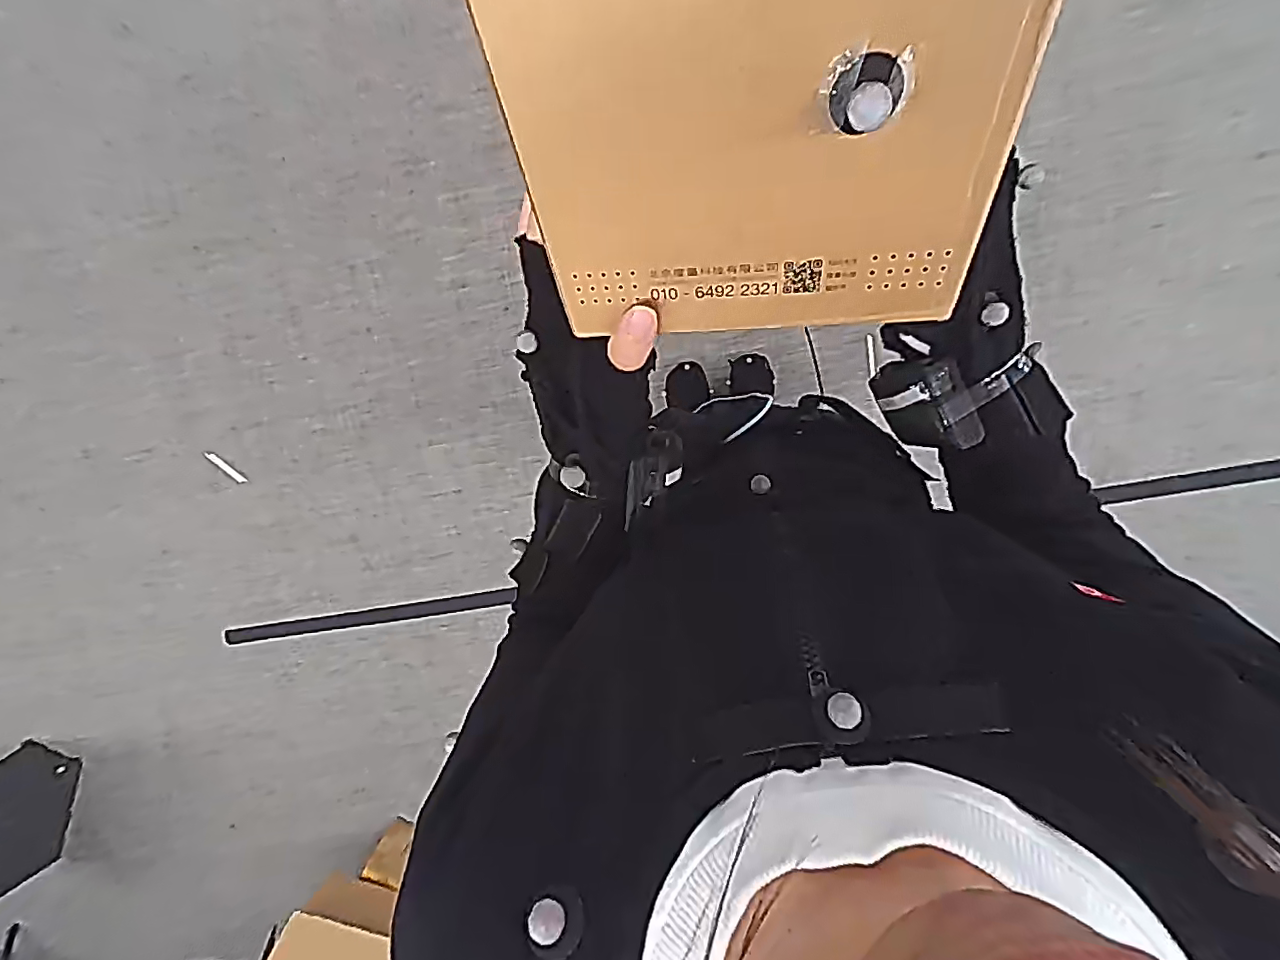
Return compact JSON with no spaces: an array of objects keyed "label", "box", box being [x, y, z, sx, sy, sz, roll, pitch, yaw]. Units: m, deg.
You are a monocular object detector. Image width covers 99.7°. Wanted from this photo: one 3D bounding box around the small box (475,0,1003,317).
[{"label":"small box","box":[0.048,-0.189,0.244,0.168,0.179,0.176,1,144,12]}]
